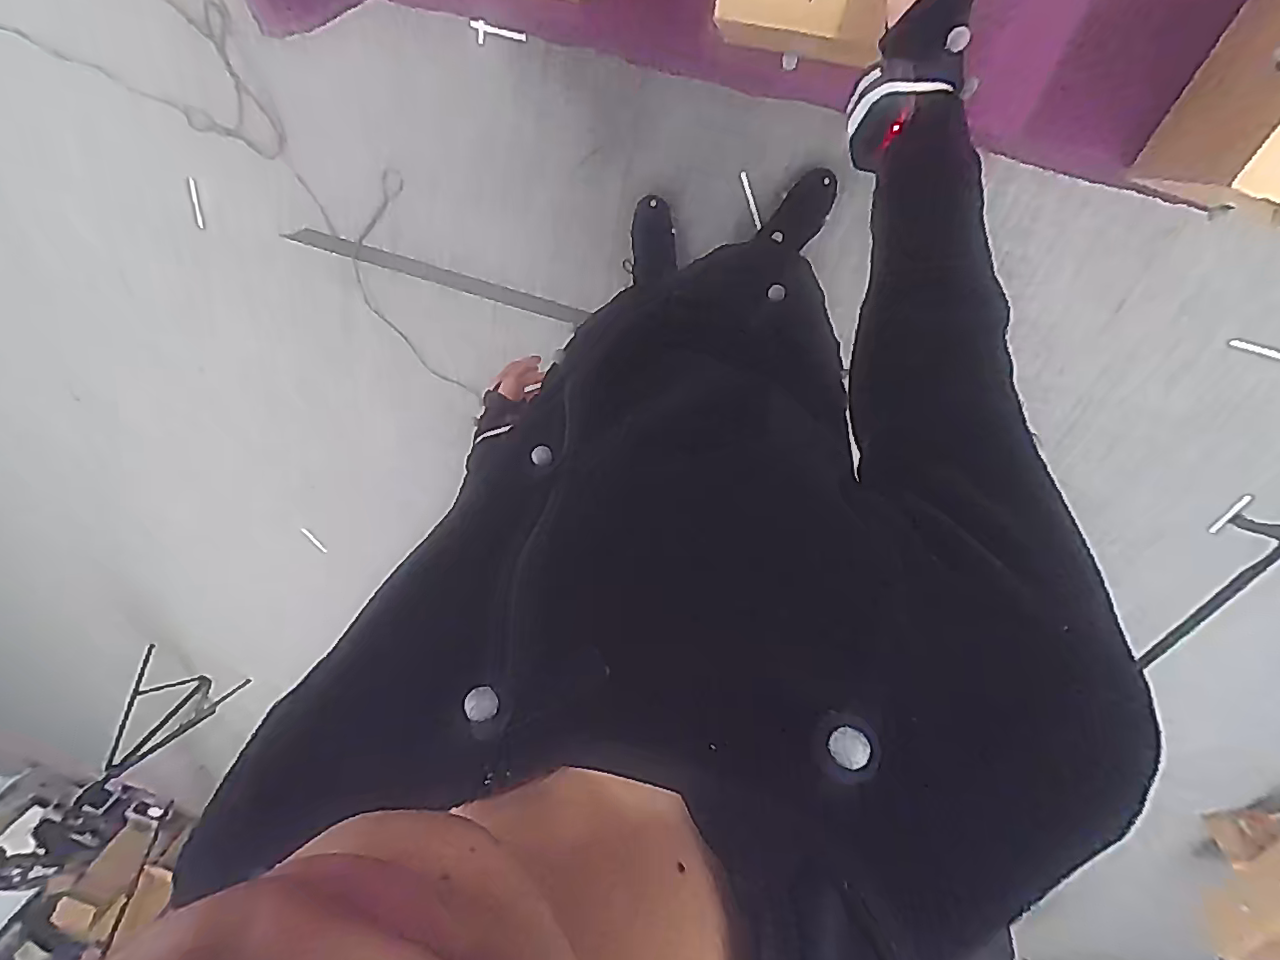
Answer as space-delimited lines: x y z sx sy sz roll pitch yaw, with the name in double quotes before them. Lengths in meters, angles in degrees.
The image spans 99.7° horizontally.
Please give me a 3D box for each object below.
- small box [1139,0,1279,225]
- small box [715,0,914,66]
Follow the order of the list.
"small box" 0.618 -0.336 0.480 0.168 0.176 0.179 20 124 1
"small box" 0.171 -0.500 0.485 0.168 0.176 0.179 14 125 5
